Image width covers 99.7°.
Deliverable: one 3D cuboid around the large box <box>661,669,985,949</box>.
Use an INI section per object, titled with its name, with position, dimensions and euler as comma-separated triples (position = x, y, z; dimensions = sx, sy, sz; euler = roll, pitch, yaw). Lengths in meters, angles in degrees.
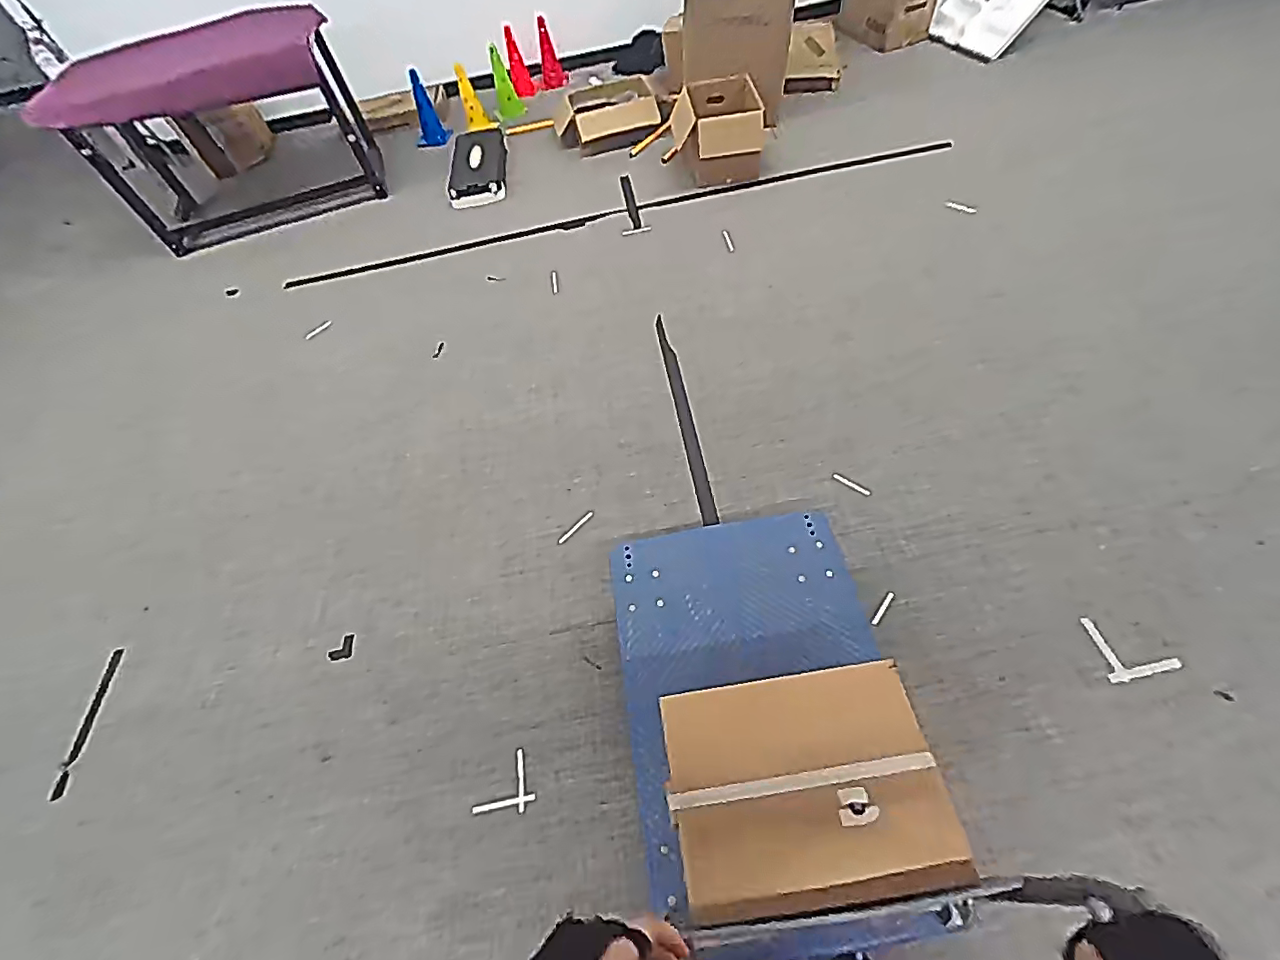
[large box]
position = 0.265, 0.559, 0.931
dimensions = 0.408, 0.320, 0.320
euler = -10, 55, 0
